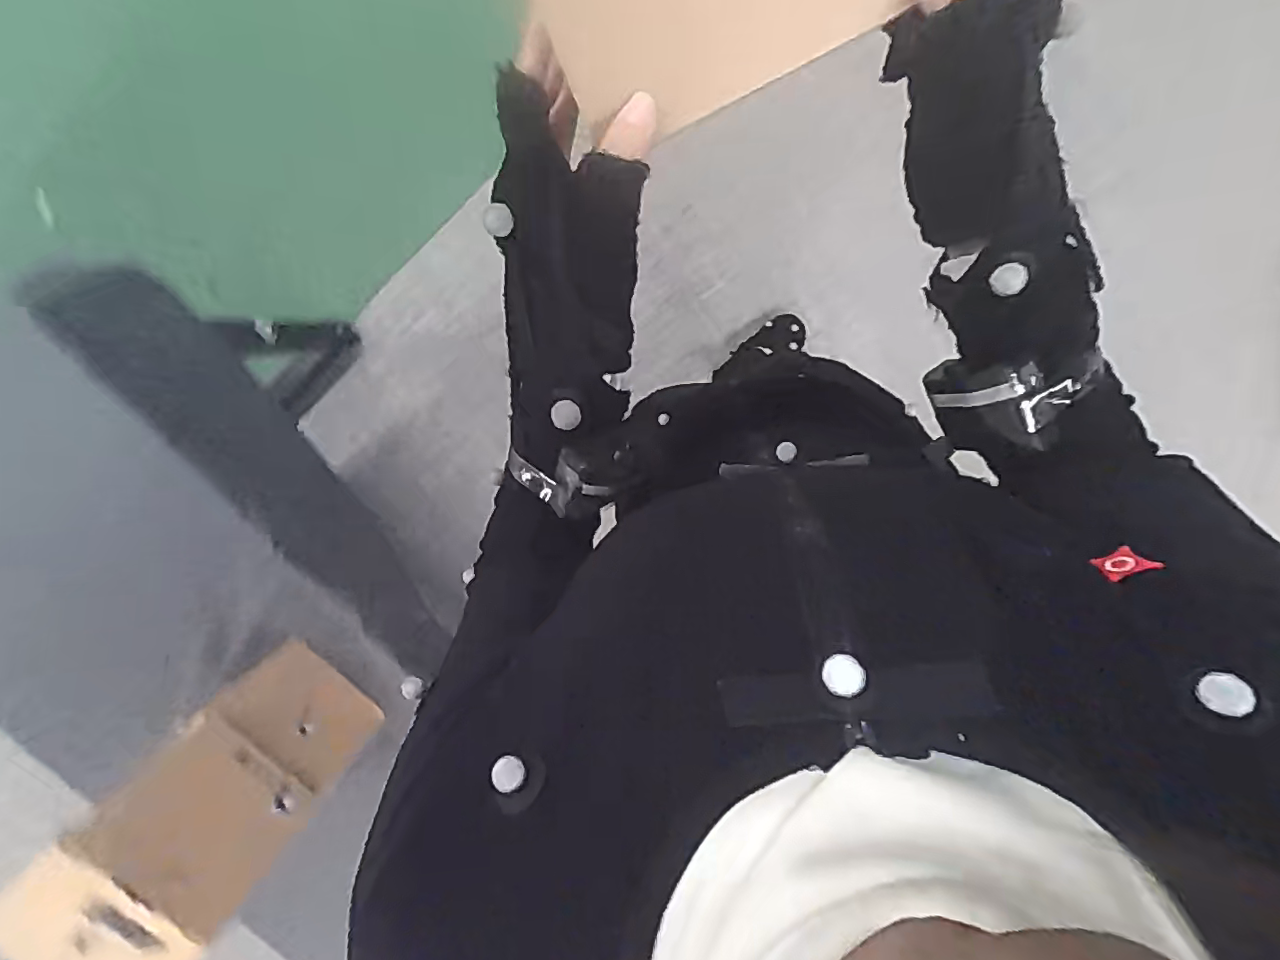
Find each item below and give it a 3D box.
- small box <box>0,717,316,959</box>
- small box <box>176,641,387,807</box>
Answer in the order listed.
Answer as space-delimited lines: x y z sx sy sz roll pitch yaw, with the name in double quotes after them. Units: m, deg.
-0.499 0.401 0.587 0.179 0.176 0.168 -42 98 15 "small box"
-0.496 0.362 0.750 0.179 0.176 0.168 43 106 -6 "small box"
